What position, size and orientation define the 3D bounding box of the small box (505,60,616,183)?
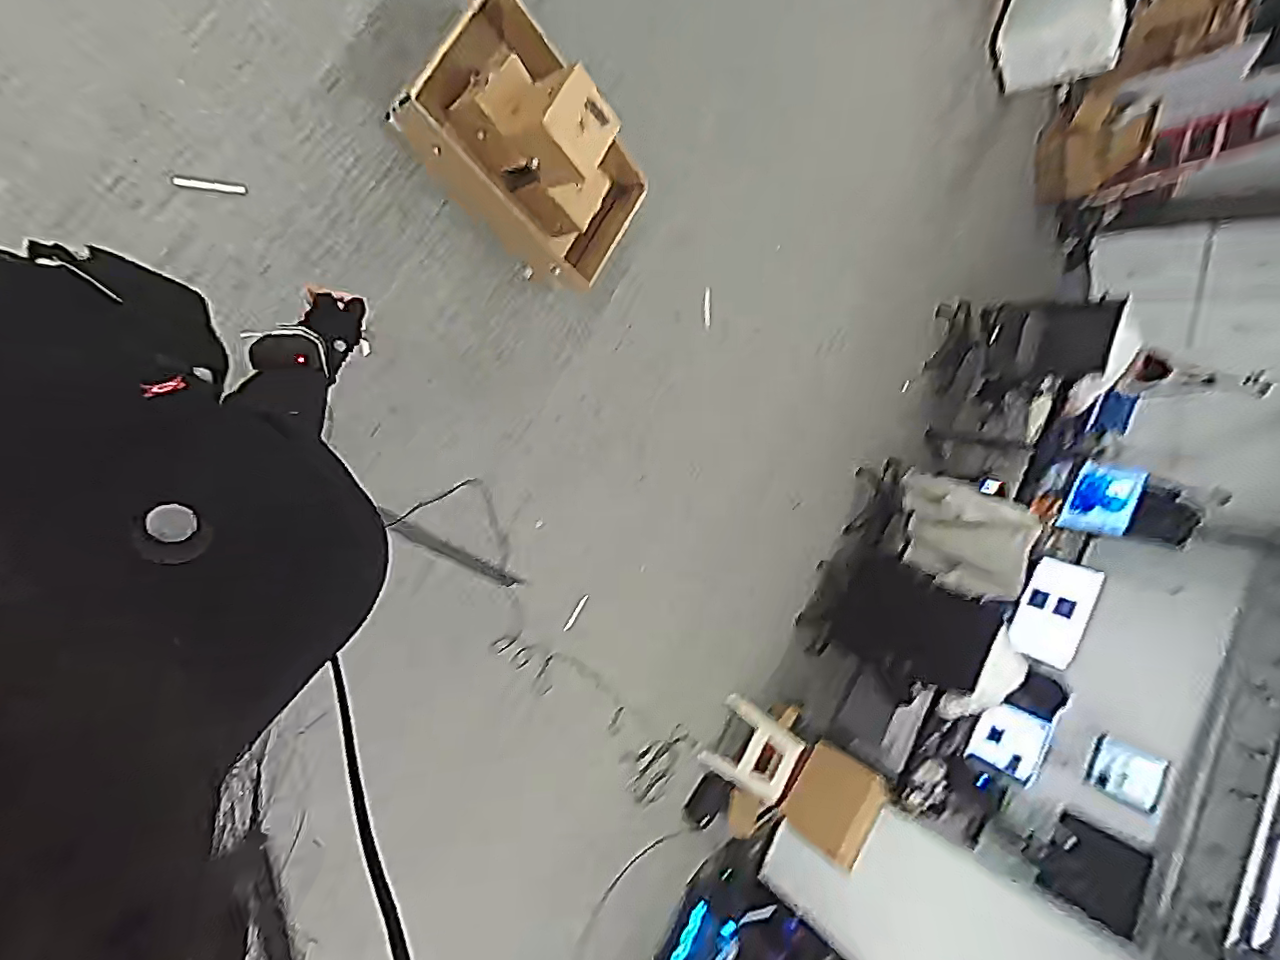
[{"bbox_3d":[-0.196,-0.858,1.311,0.168,0.176,0.179,36,78,-46],"label":"small box"}]
